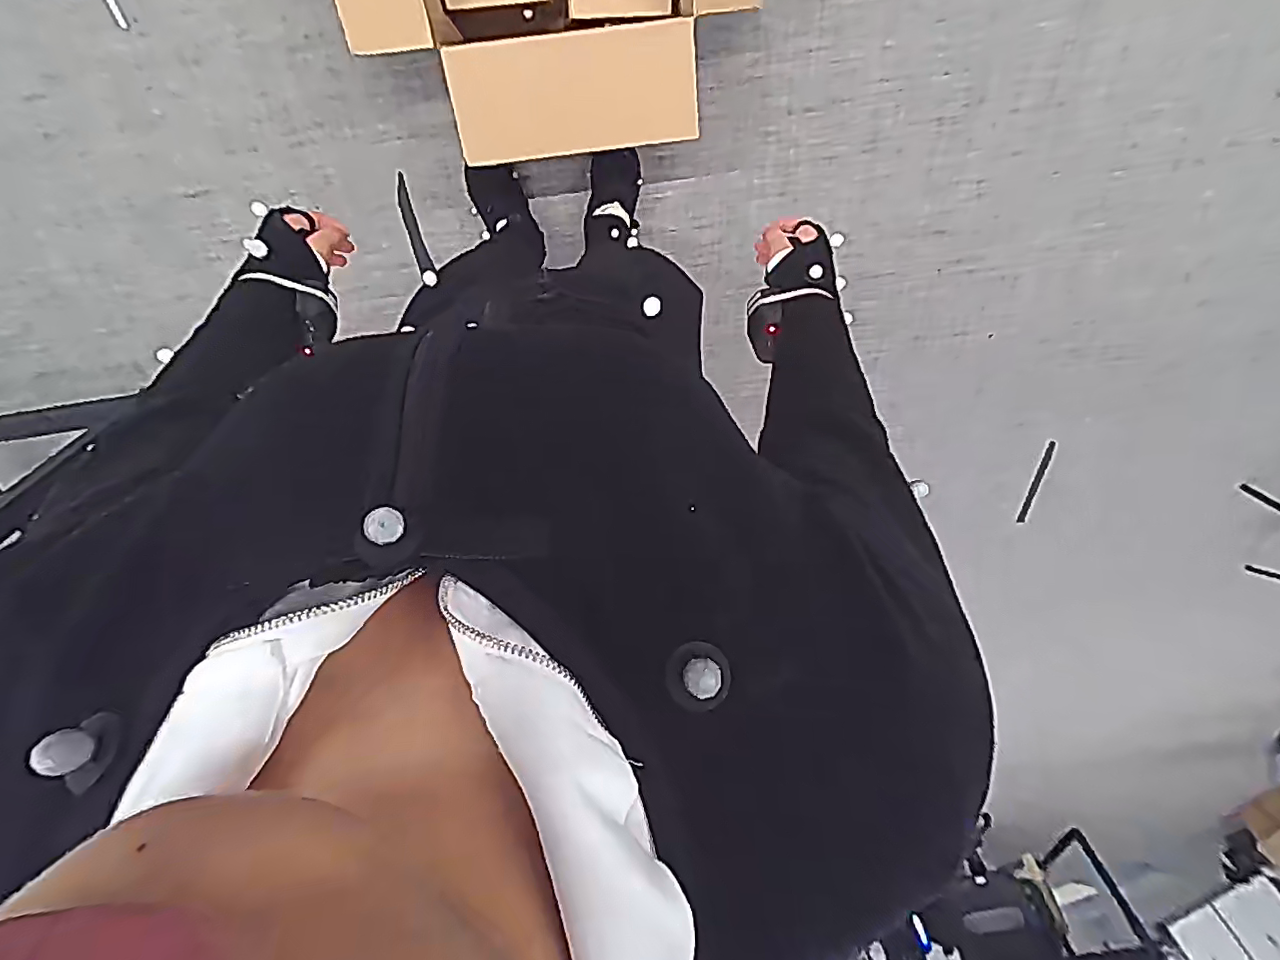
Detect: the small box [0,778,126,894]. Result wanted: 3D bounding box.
[{"bbox_3d":[-1.319,0.777,1.193,0.168,0.176,0.179,-7,129,0],"label":"small box"}]
